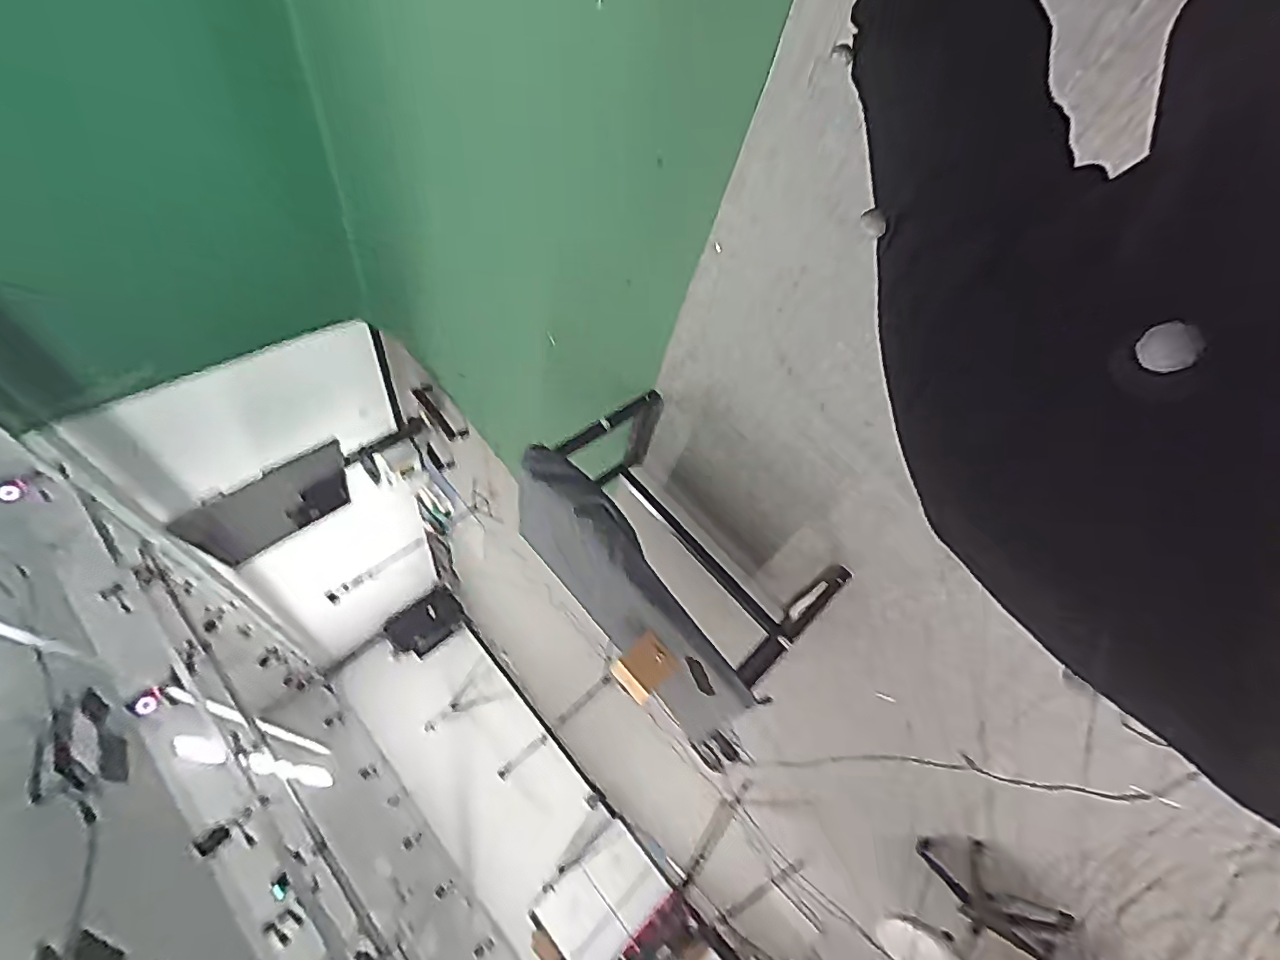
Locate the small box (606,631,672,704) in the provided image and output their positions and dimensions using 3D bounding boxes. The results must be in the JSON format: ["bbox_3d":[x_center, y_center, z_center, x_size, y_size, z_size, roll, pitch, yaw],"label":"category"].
[{"bbox_3d":[-0.003,0.699,2.018,0.168,0.176,0.179,45,148,16],"label":"small box"}]
